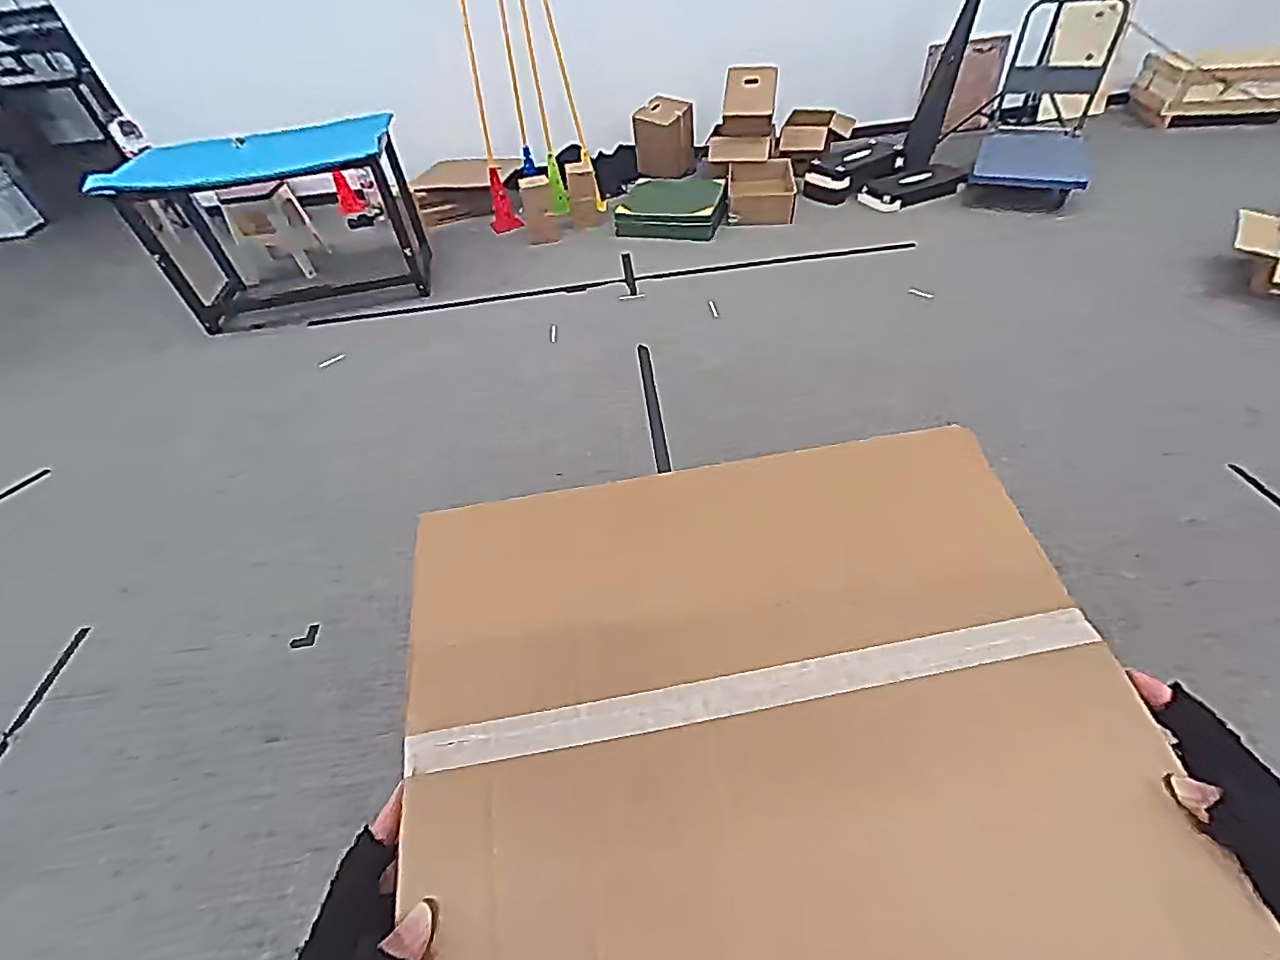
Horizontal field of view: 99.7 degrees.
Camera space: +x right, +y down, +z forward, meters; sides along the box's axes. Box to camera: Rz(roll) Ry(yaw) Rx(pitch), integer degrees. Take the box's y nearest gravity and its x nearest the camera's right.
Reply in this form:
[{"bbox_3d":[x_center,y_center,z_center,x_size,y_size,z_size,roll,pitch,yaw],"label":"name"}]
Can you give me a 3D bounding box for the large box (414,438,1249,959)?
[{"bbox_3d":[0.078,0.207,0.446,0.408,0.320,0.320,-10,58,-2],"label":"large box"}]
